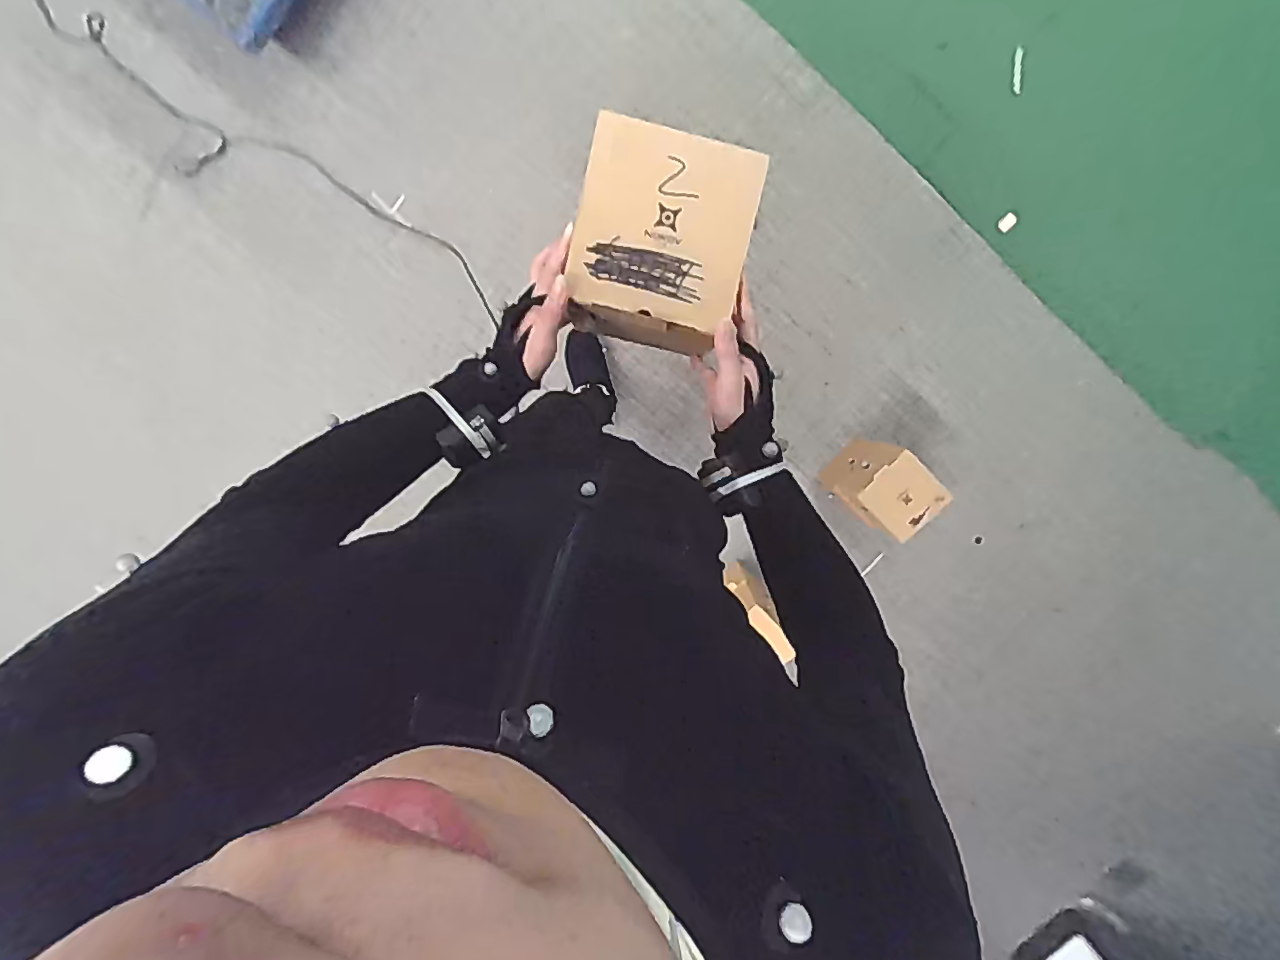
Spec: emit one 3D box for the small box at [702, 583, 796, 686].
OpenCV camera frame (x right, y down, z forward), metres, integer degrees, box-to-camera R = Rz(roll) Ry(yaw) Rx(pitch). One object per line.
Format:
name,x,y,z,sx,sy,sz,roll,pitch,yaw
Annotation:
small box,0.288,0.412,1.469,0.168,0.176,0.179,-43,97,9

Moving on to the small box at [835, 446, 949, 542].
small box,0.635,0.027,1.389,0.168,0.176,0.179,-44,96,8

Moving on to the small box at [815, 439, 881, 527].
small box,0.635,0.001,1.551,0.179,0.176,0.168,-43,97,9

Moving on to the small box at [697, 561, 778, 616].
small box,0.292,0.373,1.625,0.168,0.176,0.179,-37,98,5
